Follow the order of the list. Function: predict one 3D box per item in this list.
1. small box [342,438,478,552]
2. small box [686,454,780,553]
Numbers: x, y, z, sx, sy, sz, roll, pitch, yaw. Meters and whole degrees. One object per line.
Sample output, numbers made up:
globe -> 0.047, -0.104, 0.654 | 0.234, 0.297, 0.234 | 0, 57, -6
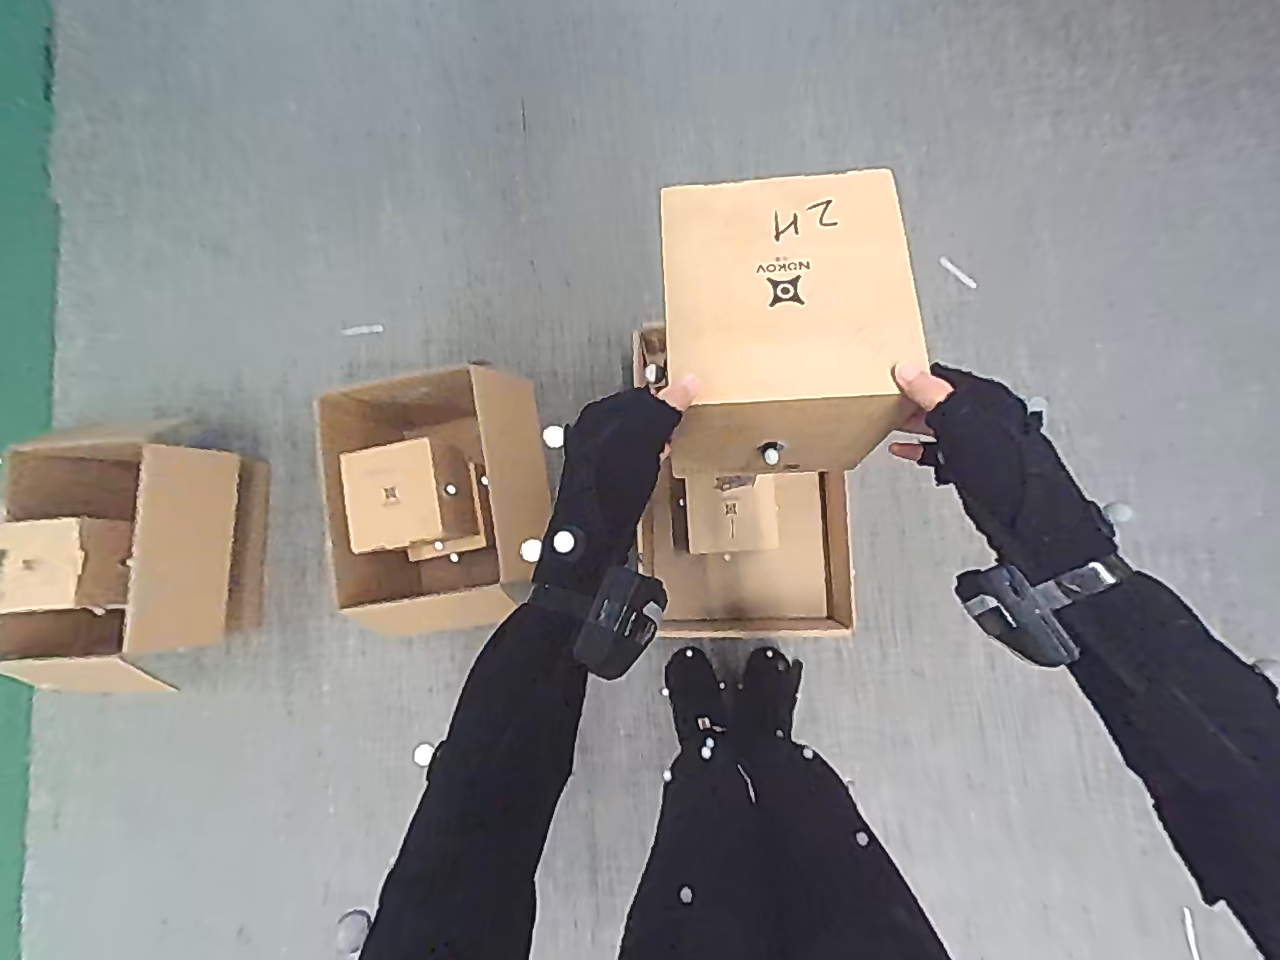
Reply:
small box -> -0.416, 0.031, 1.005 | 0.168, 0.176, 0.179 | -11, 84, 4
small box -> 0.176, 0.053, 1.072 | 0.168, 0.176, 0.179 | -3, 83, 5
